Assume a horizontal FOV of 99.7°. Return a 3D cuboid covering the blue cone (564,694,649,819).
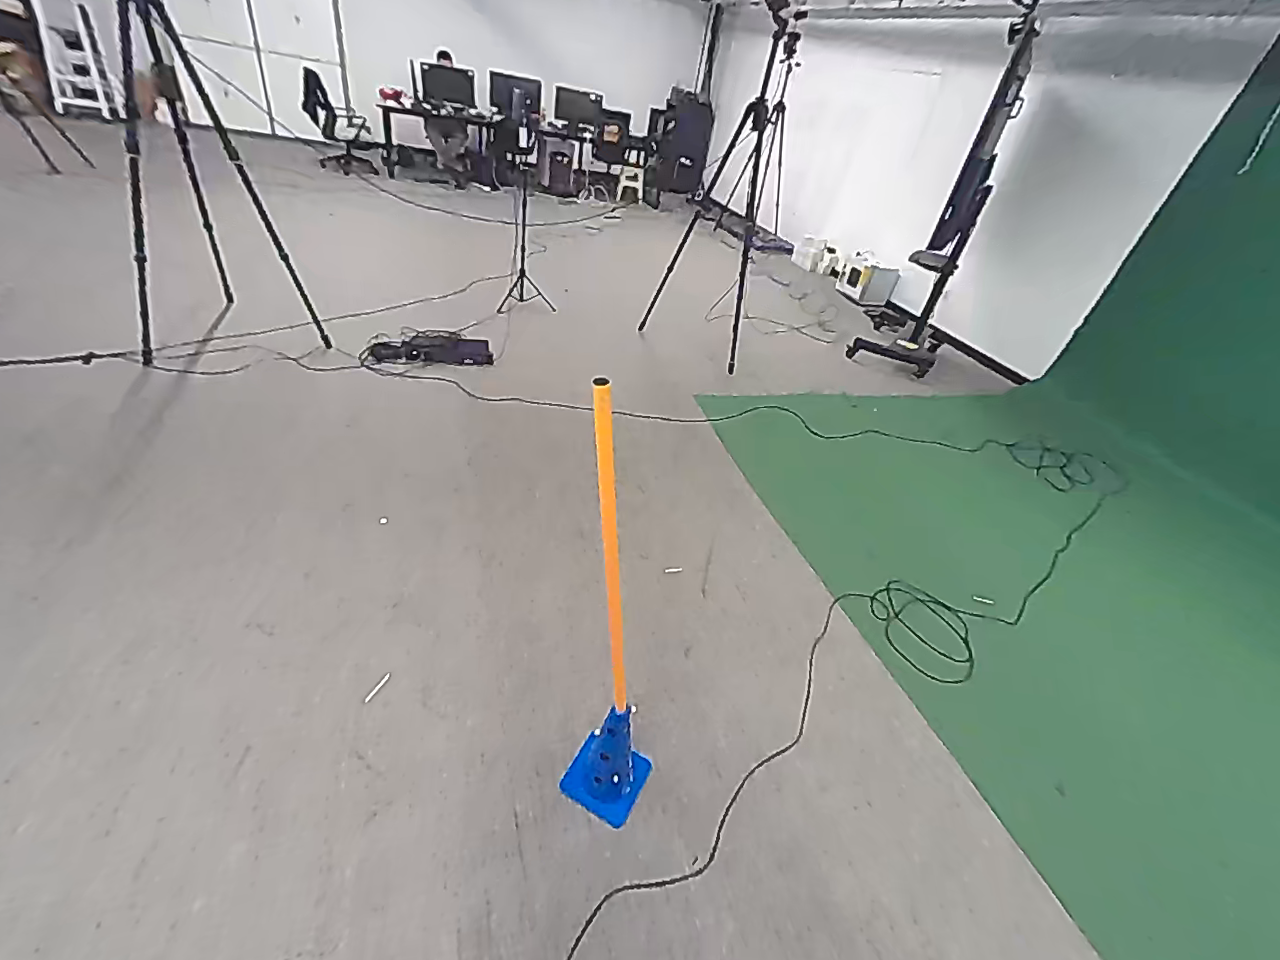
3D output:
[{"bbox_3d":[-0.069,0.668,1.367,0.193,0.380,0.192,22,39,16],"label":"blue cone"}]
